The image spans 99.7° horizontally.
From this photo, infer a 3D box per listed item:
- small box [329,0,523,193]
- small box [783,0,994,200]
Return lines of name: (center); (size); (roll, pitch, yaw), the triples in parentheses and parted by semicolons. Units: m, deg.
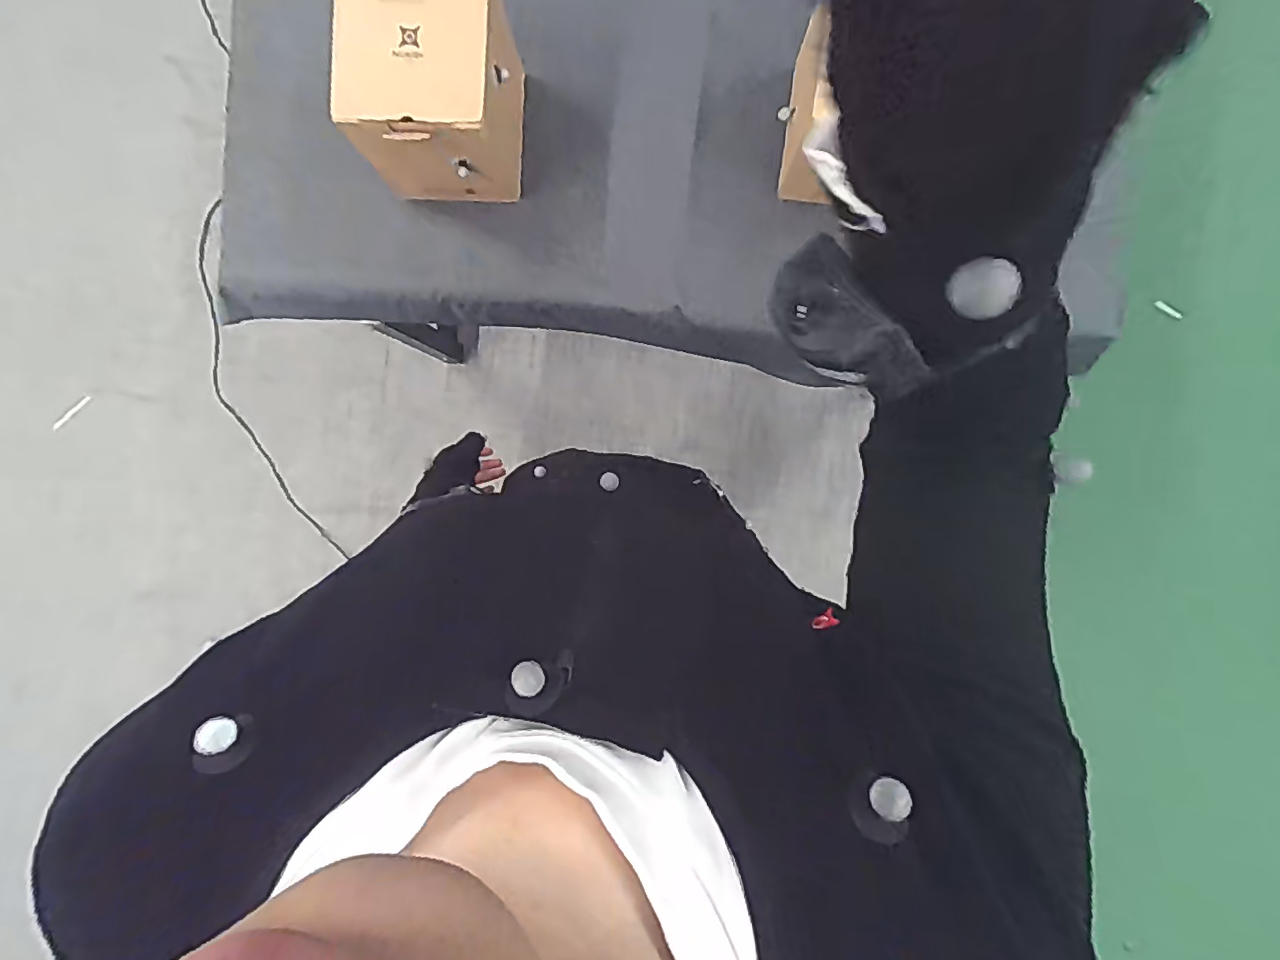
small box: (-0.241, -0.468, 0.645); (0.168, 0.176, 0.179); (2, 90, 0)
small box: (0.271, -0.452, 0.626); (0.168, 0.176, 0.179); (7, 93, 2)
